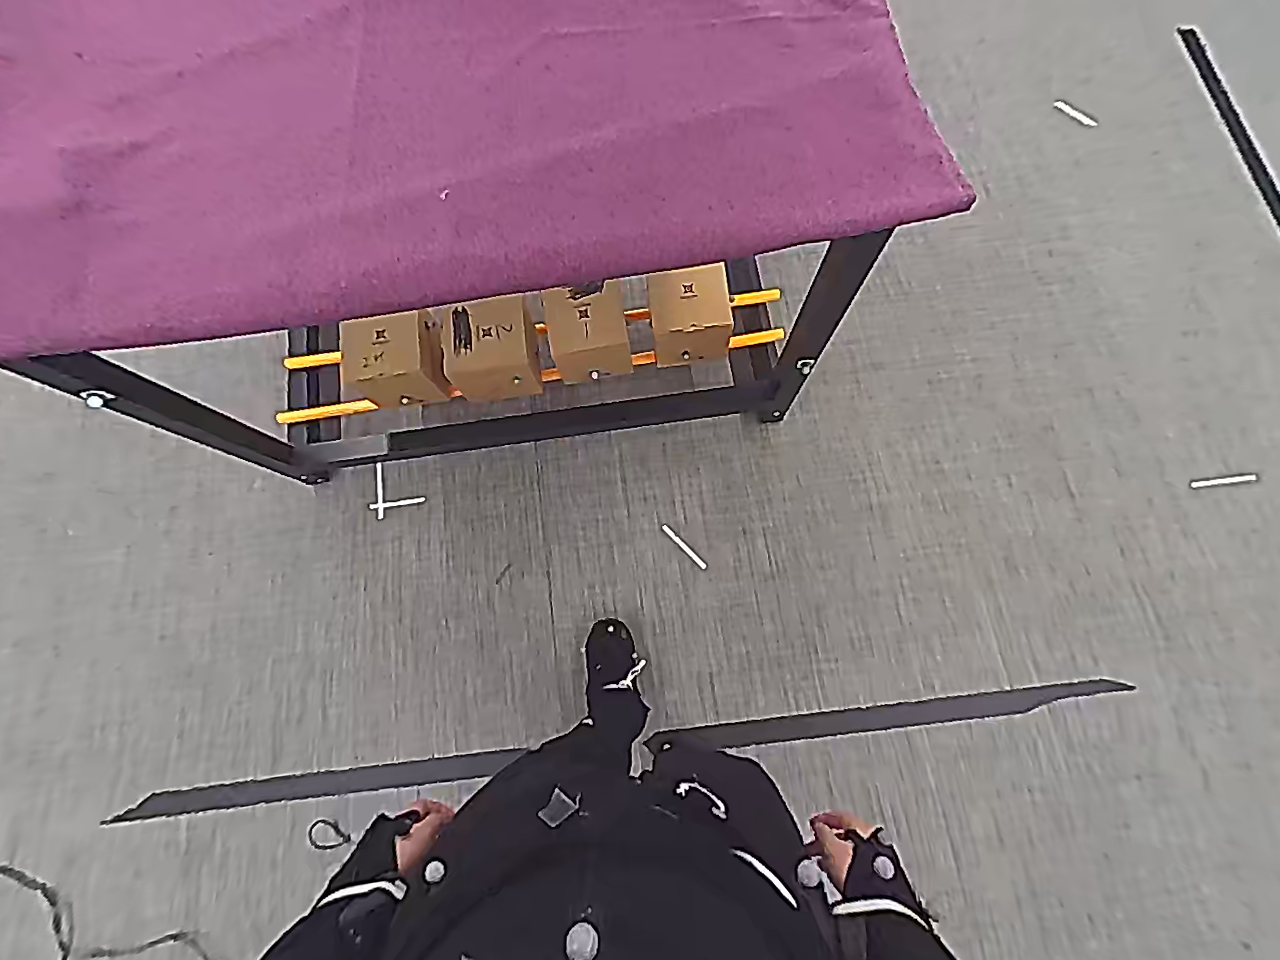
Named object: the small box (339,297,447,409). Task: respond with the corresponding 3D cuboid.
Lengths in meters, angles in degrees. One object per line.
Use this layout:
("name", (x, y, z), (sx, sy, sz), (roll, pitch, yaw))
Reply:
("small box", (-0.538, -0.273, 1.193), (0.168, 0.176, 0.179), (-8, 77, 0))

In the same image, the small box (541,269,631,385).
("small box", (-0.115, -0.332, 1.197), (0.168, 0.176, 0.179), (-10, 79, 0))

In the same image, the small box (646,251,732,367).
("small box", (0.102, -0.372, 1.197), (0.168, 0.176, 0.179), (-7, 77, 2))
